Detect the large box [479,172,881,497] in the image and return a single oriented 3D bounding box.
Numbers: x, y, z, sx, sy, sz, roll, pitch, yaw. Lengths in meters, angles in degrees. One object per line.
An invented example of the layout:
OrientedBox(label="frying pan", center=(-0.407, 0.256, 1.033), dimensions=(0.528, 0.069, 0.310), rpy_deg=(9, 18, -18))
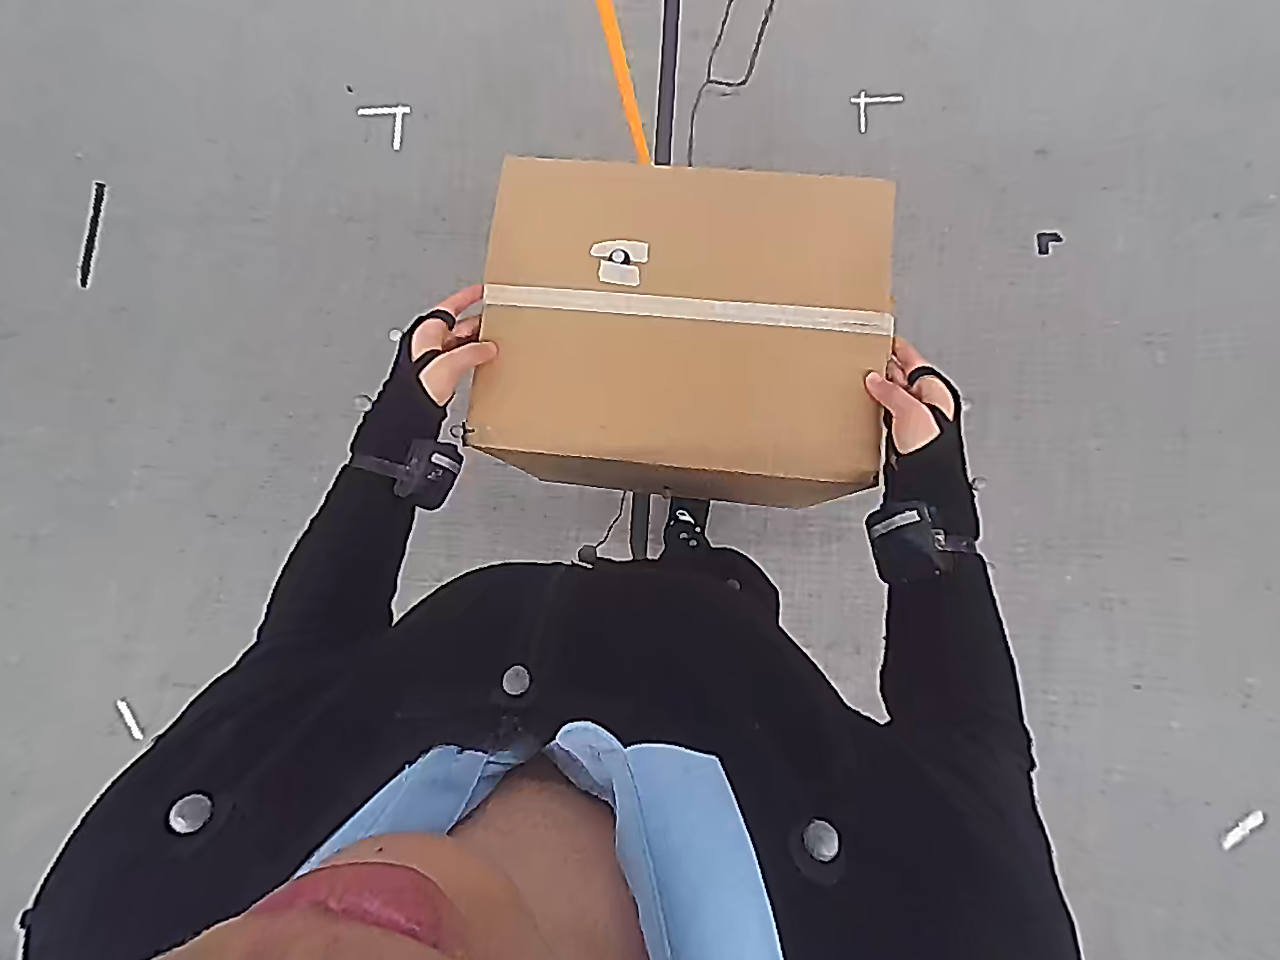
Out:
OrientedBox(label="large box", center=(0.054, -0.153, 0.704), dimensions=(0.408, 0.320, 0.320), rpy_deg=(5, 81, 4))
